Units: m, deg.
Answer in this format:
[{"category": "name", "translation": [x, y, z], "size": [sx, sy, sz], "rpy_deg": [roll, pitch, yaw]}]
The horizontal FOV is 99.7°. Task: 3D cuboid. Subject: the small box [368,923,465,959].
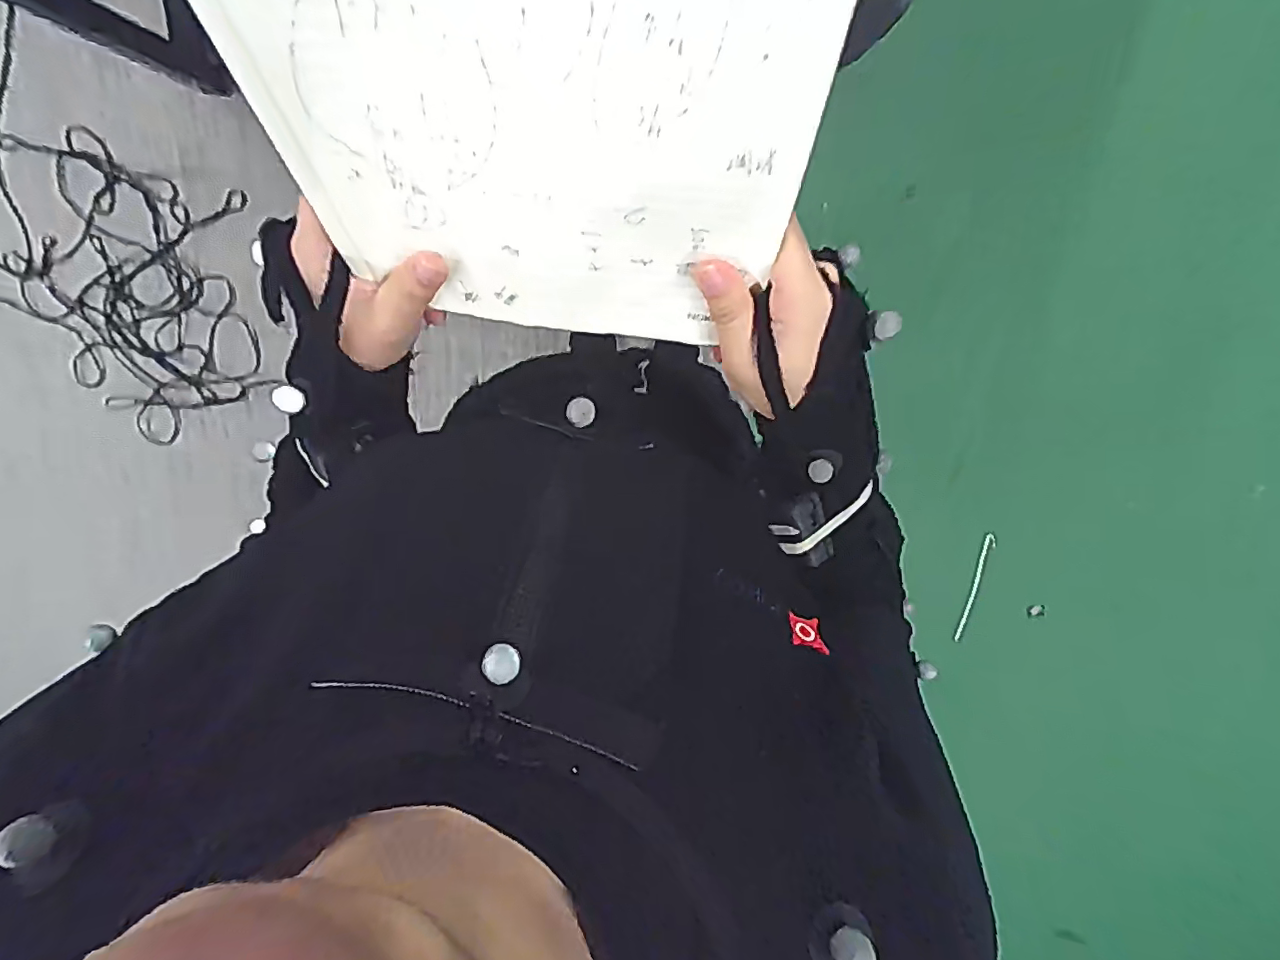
[{"category": "small box", "translation": [-0.429, 0.959, 0.984], "size": [0.168, 0.176, 0.179], "rpy_deg": [10, 109, 2]}]
